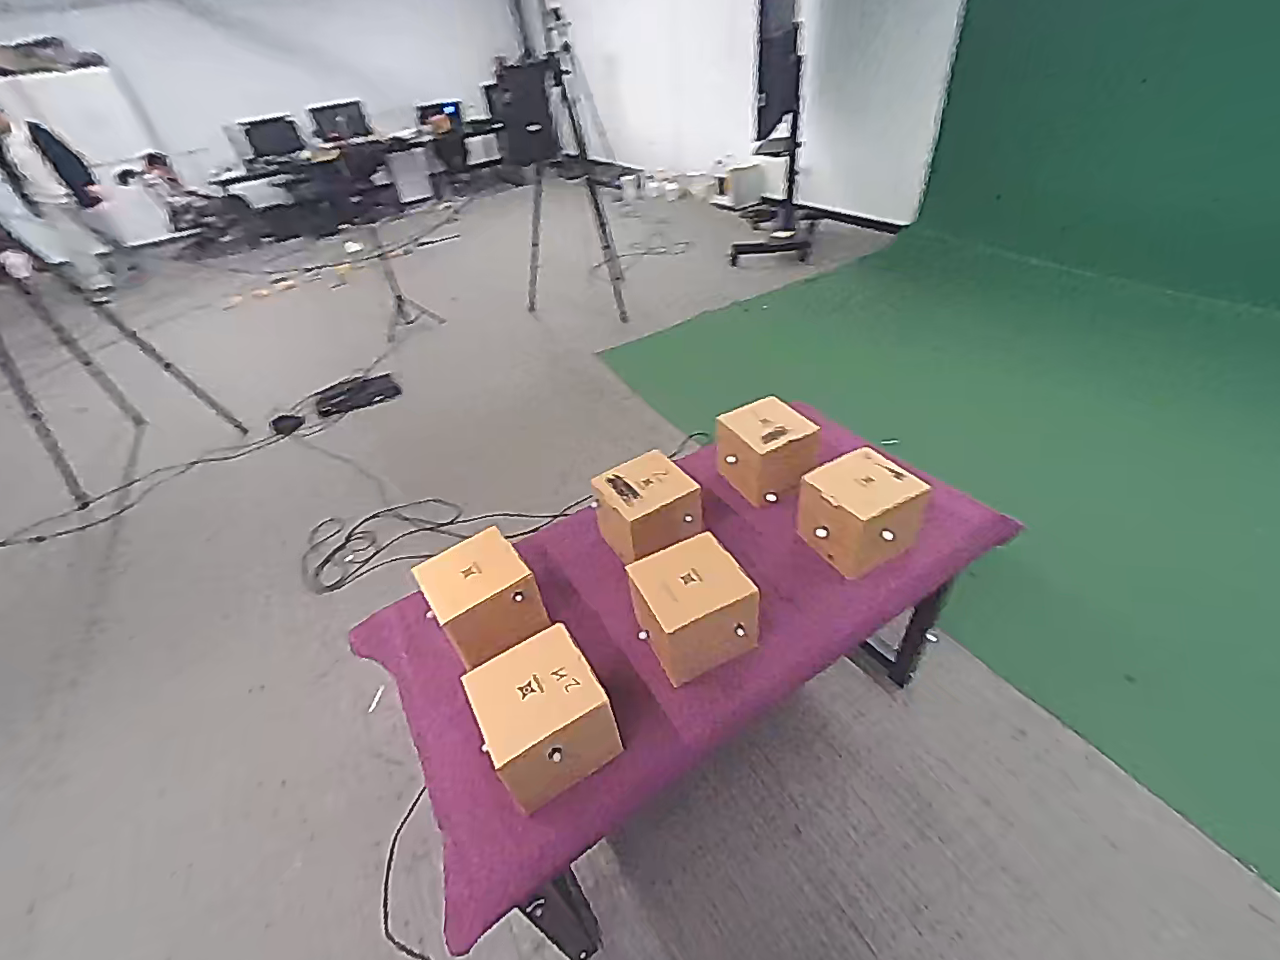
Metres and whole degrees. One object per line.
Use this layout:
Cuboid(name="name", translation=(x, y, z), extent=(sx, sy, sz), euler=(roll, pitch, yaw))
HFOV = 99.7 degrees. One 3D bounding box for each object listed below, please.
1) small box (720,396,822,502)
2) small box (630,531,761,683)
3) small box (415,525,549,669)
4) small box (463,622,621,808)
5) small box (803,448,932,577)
Cuboid(name="small box", translation=(0.306, -0.068, 1.286), extent=(0.168, 0.176, 0.179), euler=(-22, 42, -16))
Cuboid(name="small box", translation=(0.098, 0.228, 0.973), extent=(0.179, 0.176, 0.168), euler=(-21, 41, -14))
Cuboid(name="small box", translation=(-0.298, 0.225, 1.040), extent=(0.179, 0.176, 0.168), euler=(-28, 44, -24))
Cuboid(name="small box", translation=(-0.148, 0.366, 0.844), extent=(0.179, 0.176, 0.168), euler=(-24, 42, -20))
Cuboid(name="small box", translation=(0.453, 0.067, 1.102), extent=(0.179, 0.176, 0.168), euler=(-23, 42, -16))
